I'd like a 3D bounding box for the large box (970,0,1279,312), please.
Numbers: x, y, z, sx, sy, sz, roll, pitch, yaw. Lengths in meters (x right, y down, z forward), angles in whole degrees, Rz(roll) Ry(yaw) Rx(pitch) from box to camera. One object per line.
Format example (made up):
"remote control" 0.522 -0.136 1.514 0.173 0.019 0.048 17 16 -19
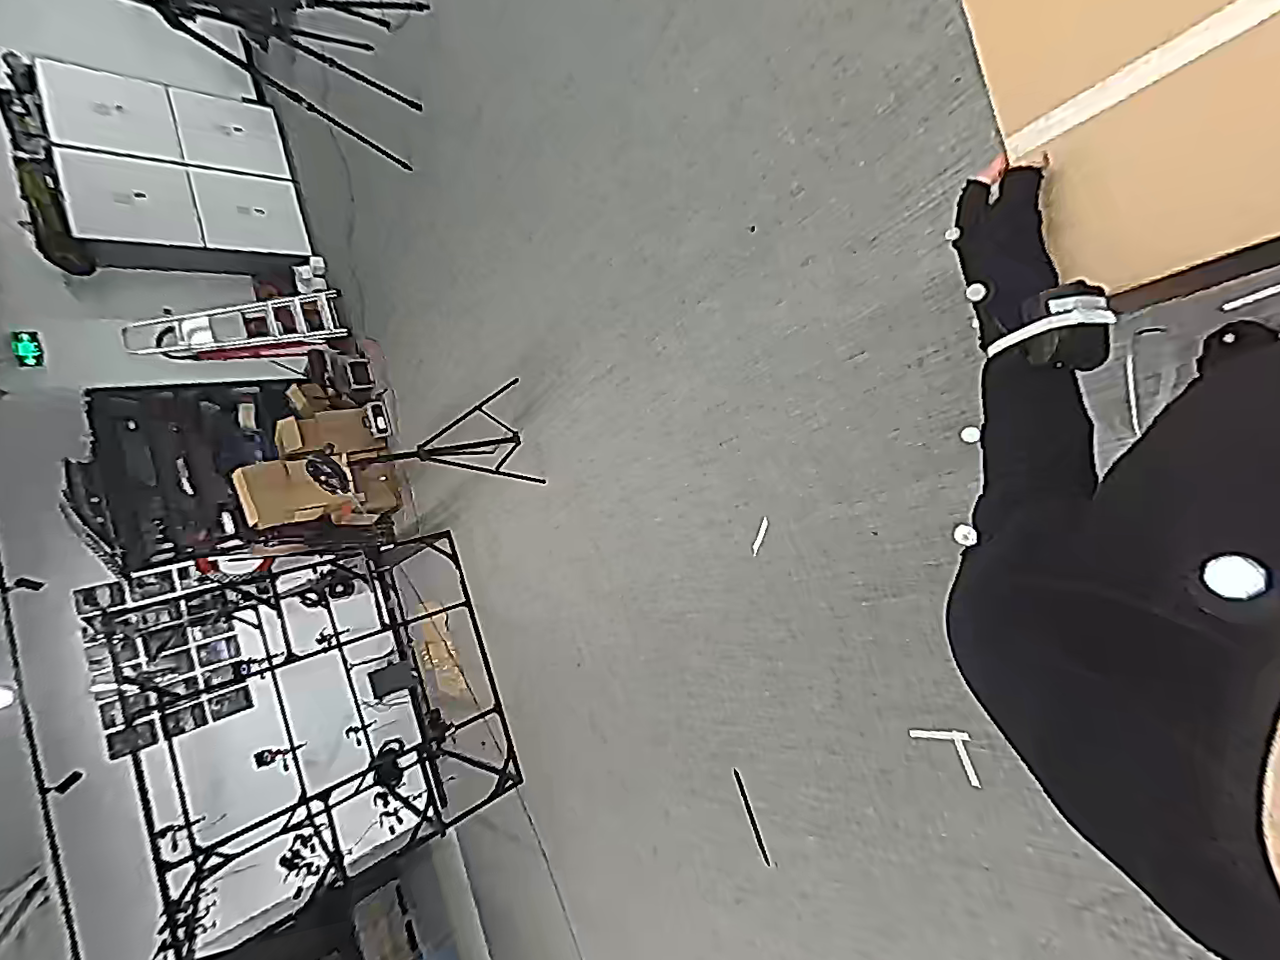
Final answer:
"large box" 0.579 -0.374 0.448 0.408 0.320 0.320 -17 86 50
